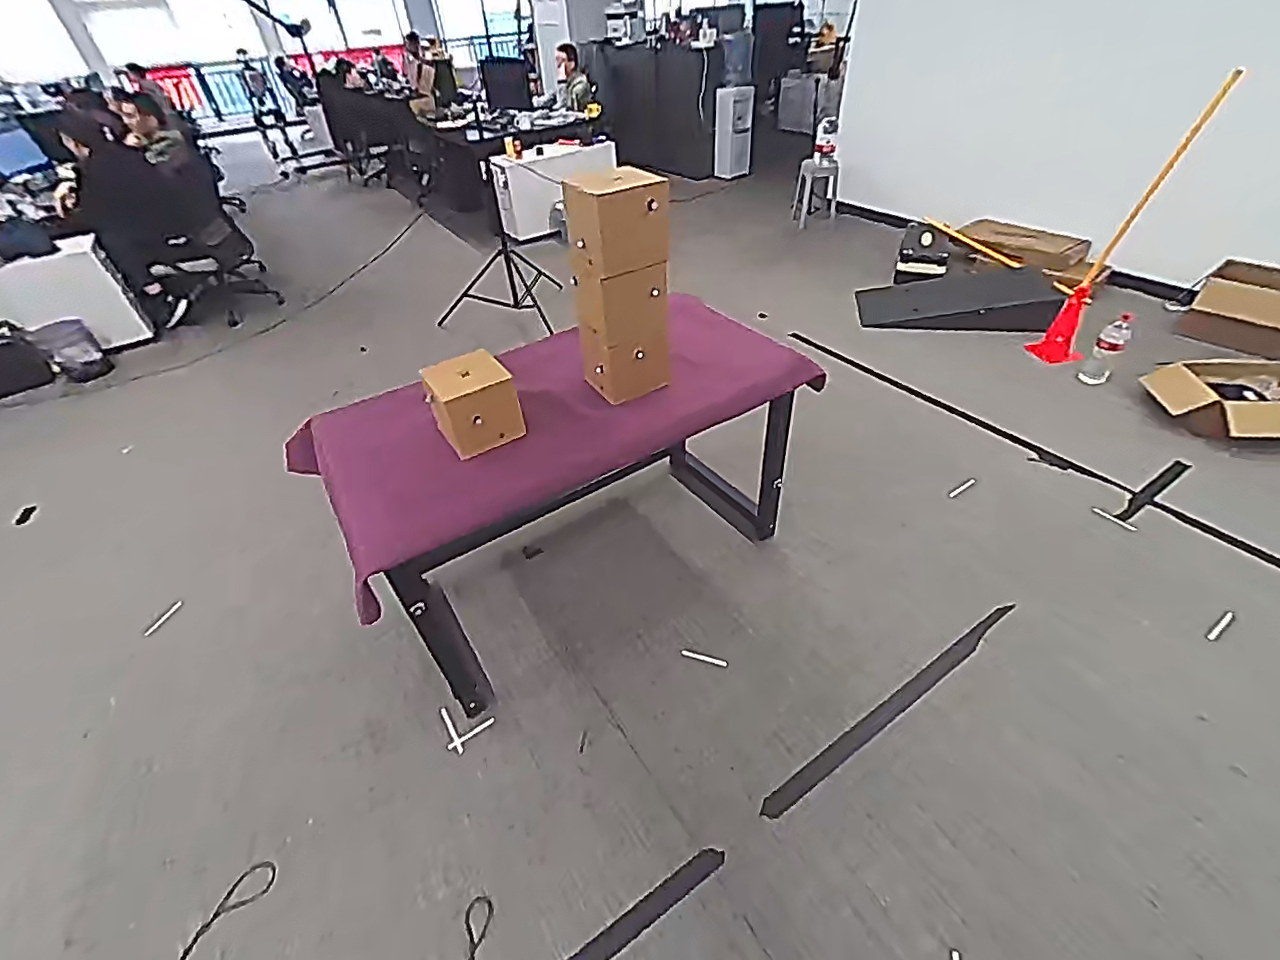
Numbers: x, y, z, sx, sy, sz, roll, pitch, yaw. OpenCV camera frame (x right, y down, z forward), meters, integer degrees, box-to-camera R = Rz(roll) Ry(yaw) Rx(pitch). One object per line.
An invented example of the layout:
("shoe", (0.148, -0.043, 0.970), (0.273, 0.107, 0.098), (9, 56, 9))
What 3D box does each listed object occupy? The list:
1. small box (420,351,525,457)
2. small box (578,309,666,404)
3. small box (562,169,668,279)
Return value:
("small box", (-0.395, -0.176, 1.291), (0.168, 0.176, 0.179), (-27, 45, -23))
("small box", (-0.041, -0.323, 1.419), (0.179, 0.176, 0.168), (-24, 46, -21))
("small box", (-0.053, -0.570, 1.202), (0.179, 0.176, 0.168), (-25, 45, -21))
